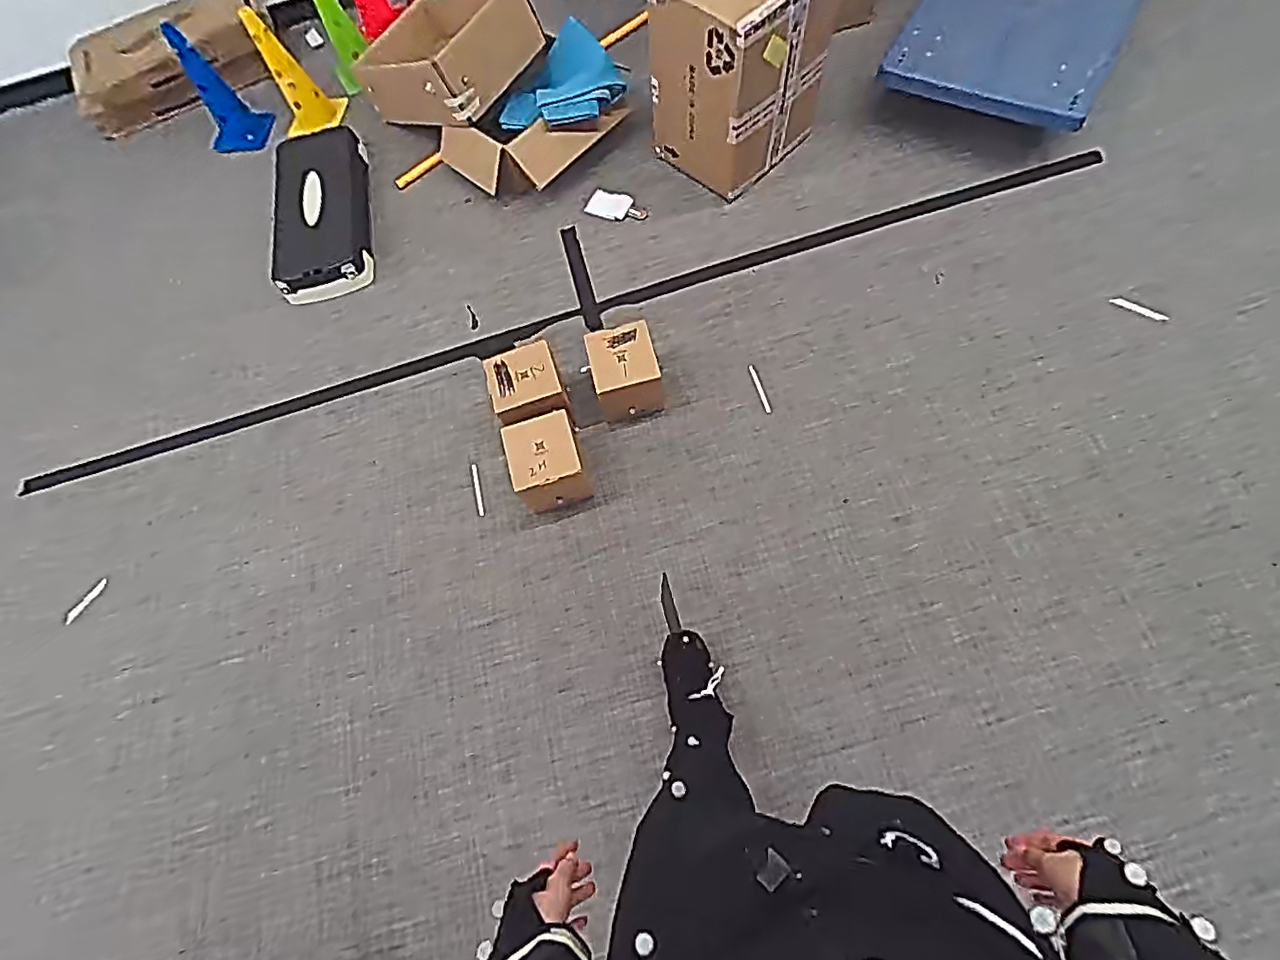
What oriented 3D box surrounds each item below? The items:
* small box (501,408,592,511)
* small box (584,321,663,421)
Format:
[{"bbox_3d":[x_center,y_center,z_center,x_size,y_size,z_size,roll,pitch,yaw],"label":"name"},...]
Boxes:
[{"bbox_3d":[-0.228,-0.046,1.342,0.168,0.176,0.179,-18,69,0],"label":"small box"},{"bbox_3d":[-0.041,-0.281,1.414,0.168,0.176,0.179,-14,69,0],"label":"small box"}]
